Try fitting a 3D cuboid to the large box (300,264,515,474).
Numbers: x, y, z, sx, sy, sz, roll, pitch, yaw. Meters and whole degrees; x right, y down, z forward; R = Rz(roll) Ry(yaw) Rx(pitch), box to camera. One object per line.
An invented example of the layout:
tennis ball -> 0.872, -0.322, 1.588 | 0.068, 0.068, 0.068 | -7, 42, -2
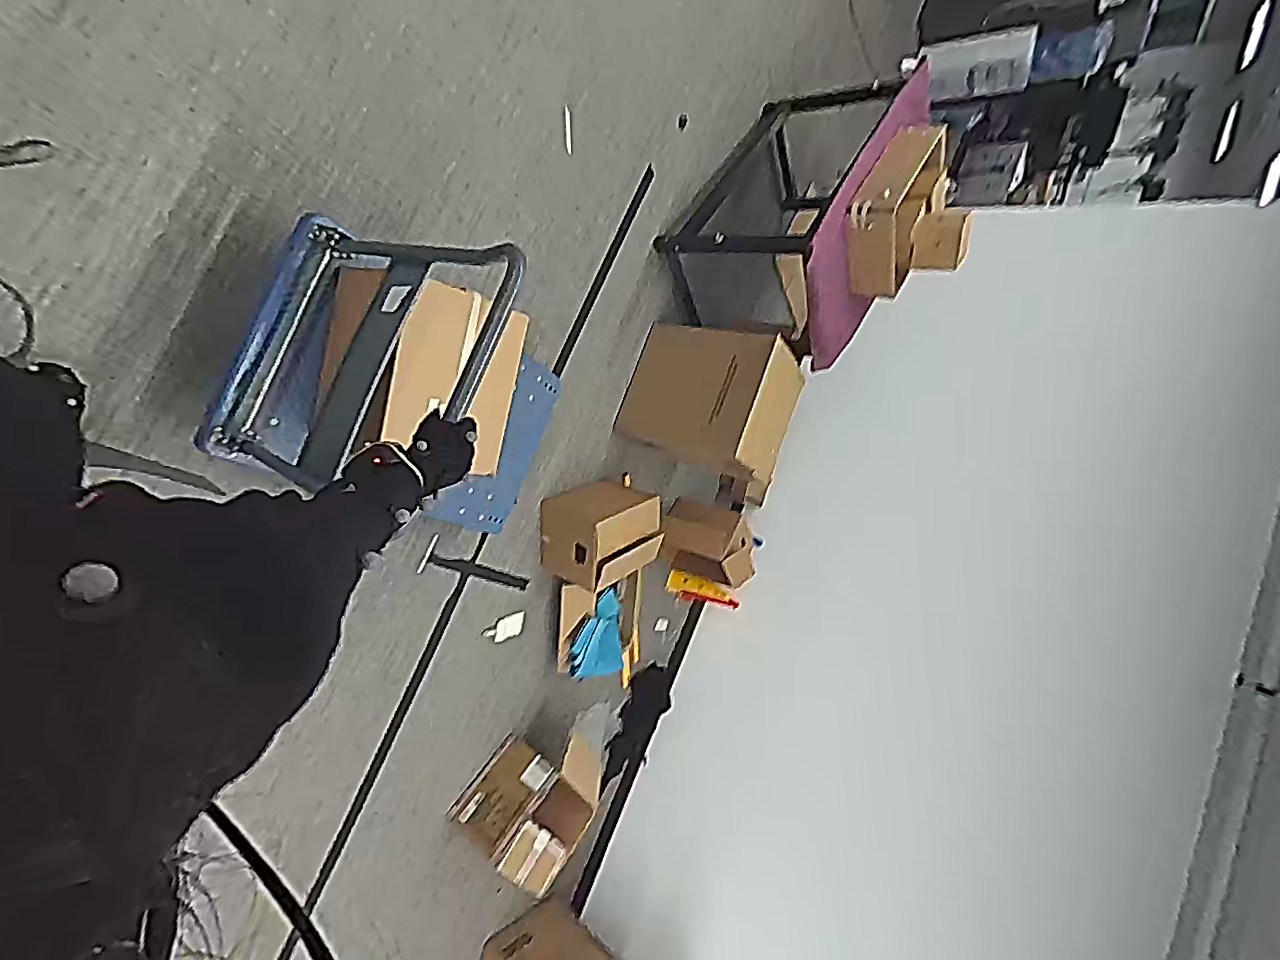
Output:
large box -> -0.549, -0.253, 1.281 | 0.320, 0.320, 0.408 | 5, 101, -55
